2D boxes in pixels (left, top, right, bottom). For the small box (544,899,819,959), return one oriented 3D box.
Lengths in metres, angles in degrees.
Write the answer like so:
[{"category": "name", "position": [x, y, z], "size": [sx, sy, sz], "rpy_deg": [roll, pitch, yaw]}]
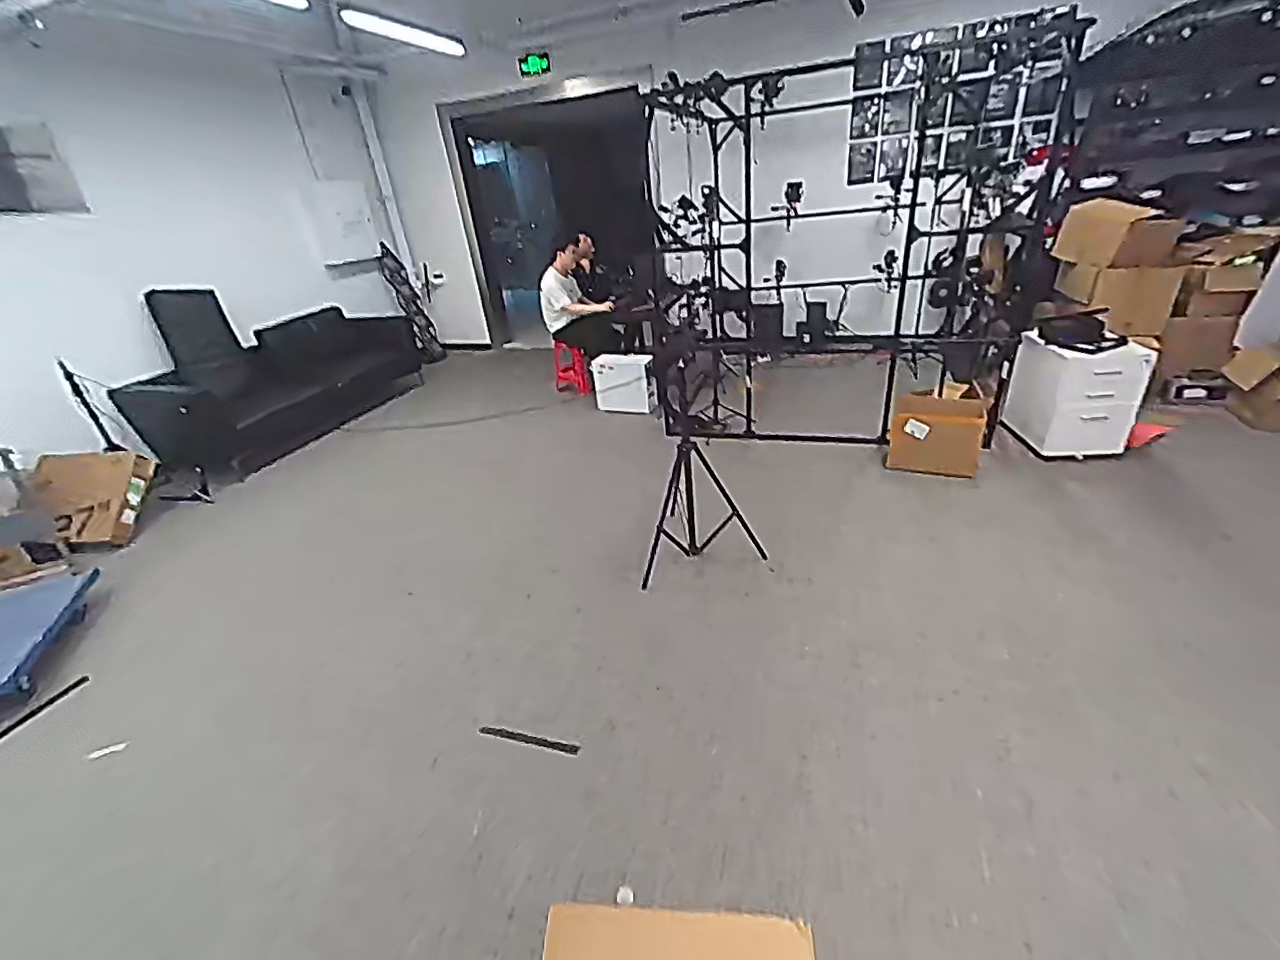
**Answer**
[{"category": "small box", "position": [0.029, 0.398, 0.355], "size": [0.179, 0.176, 0.168], "rpy_deg": [-2, 44, 7]}]
